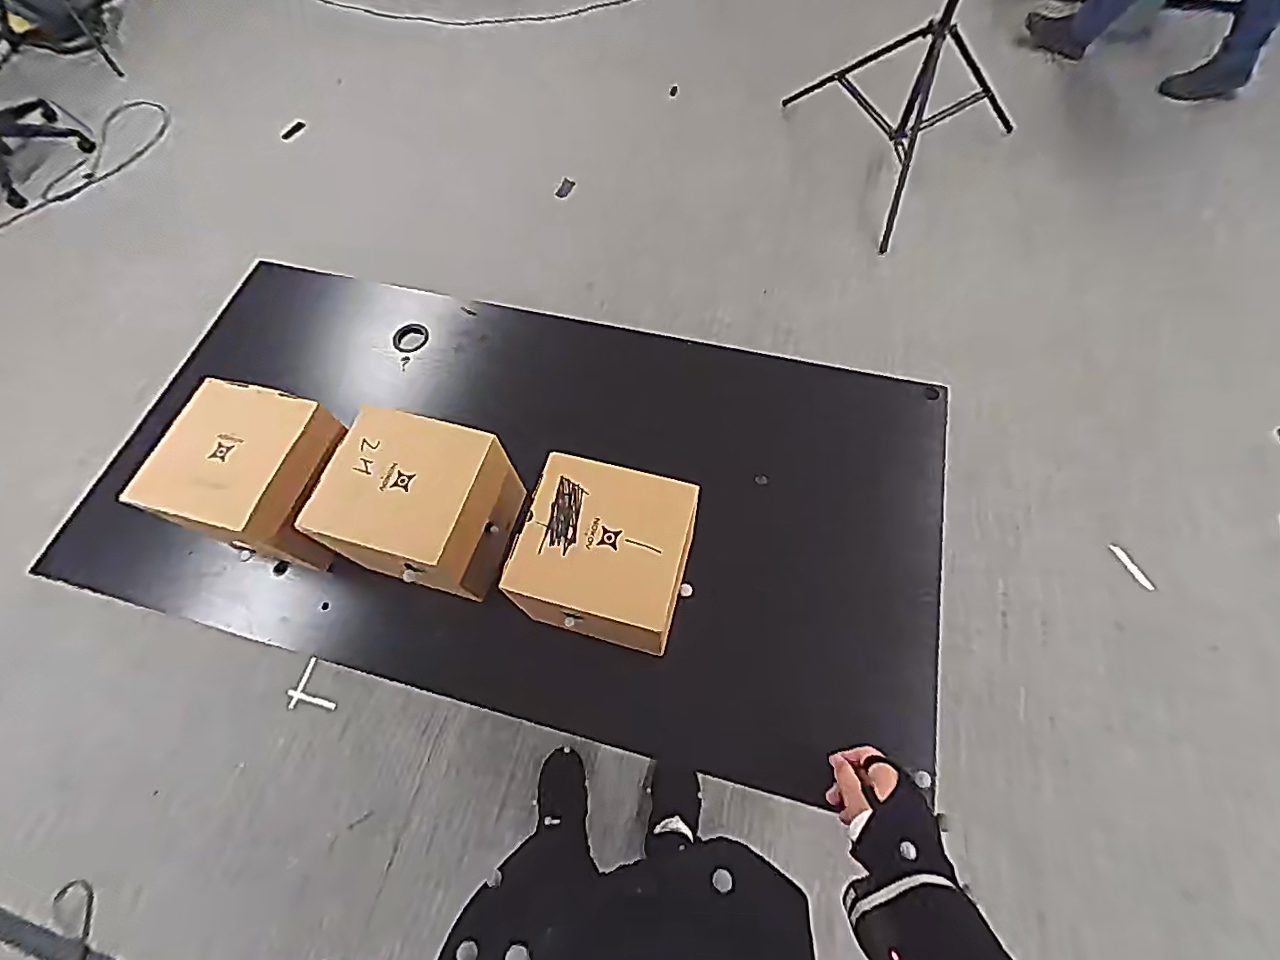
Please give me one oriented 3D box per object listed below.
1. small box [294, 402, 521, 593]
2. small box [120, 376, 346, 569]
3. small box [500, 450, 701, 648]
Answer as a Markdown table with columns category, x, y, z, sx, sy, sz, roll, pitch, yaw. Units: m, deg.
| category | x | y | z | sx | sy | sz | roll | pitch | yaw |
| --- | --- | --- | --- | --- | --- | --- | --- | --- | --- |
| small box | -0.267 | 0.031 | 0.675 | 0.179 | 0.176 | 0.168 | 14 | 66 | 9 |
| small box | -0.483 | -0.004 | 0.702 | 0.168 | 0.176 | 0.179 | 12 | 67 | 9 |
| small box | -0.036 | 0.089 | 0.638 | 0.179 | 0.176 | 0.168 | 14 | 66 | 8 |
